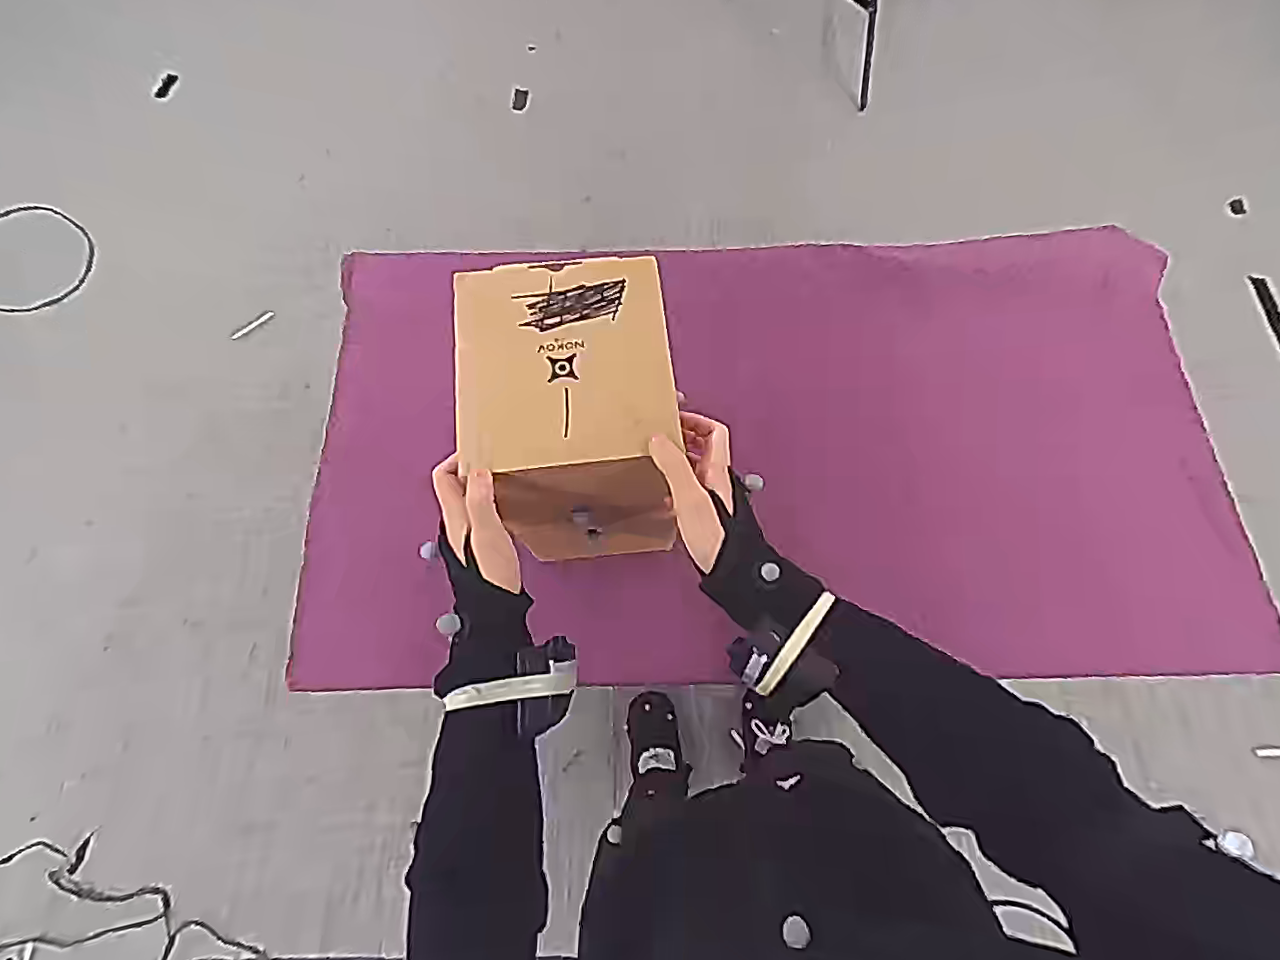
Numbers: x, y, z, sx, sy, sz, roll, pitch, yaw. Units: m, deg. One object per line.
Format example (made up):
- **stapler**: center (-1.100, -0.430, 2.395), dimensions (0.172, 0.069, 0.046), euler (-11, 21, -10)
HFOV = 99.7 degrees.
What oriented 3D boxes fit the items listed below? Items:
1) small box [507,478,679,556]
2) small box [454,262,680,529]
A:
- **small box**: center (-0.053, -0.008, 0.646), dimensions (0.179, 0.176, 0.168), euler (-5, 72, -1)
- **small box**: center (-0.061, -0.065, 0.491), dimensions (0.168, 0.176, 0.179), euler (-6, 72, -2)
